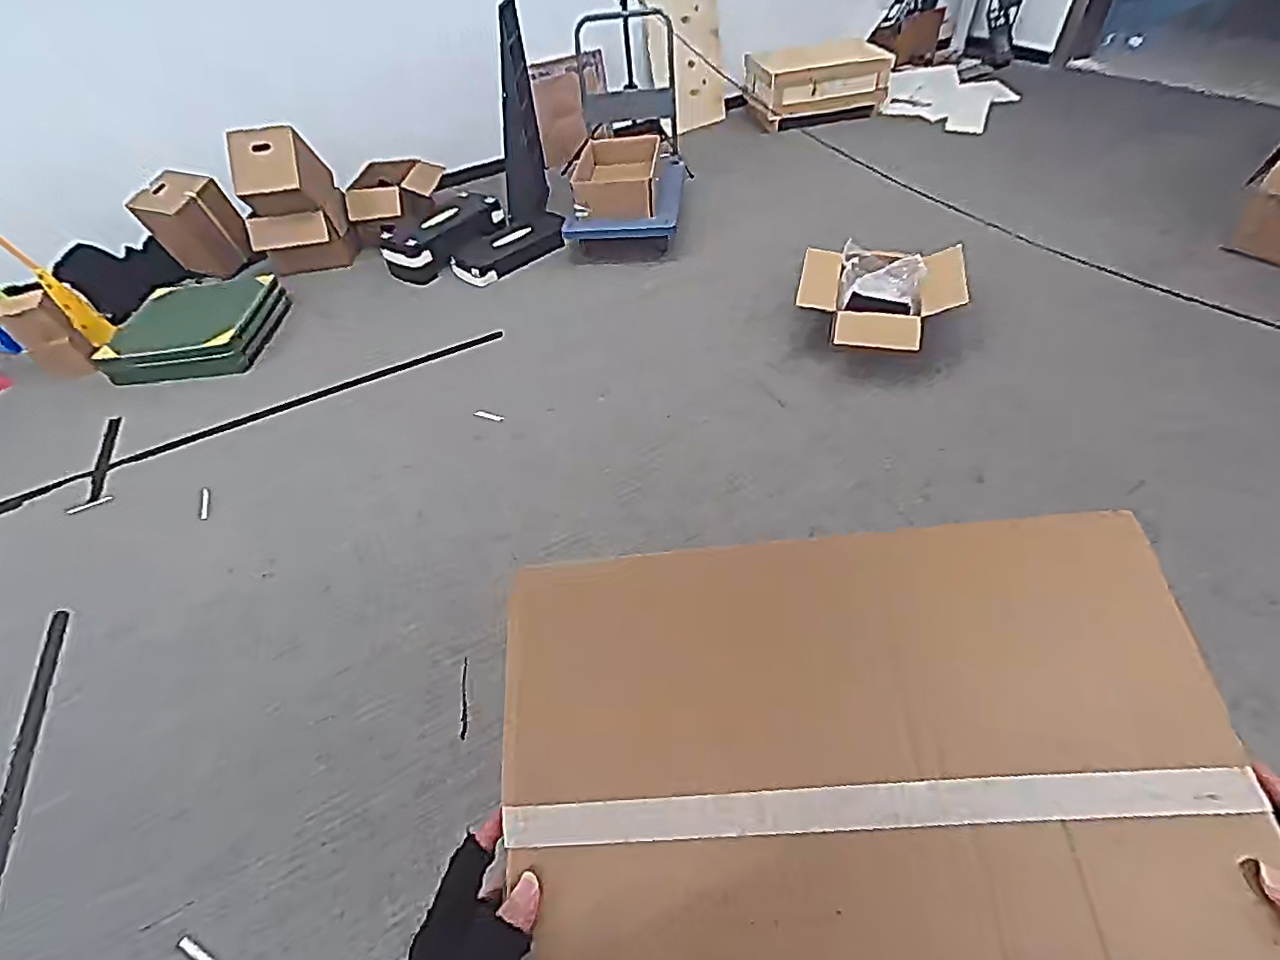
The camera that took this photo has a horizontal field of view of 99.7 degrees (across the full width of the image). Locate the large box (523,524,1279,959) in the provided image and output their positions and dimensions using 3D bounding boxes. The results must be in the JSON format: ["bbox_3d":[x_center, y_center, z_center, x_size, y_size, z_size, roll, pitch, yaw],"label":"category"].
[{"bbox_3d":[0.143,0.248,0.447,0.408,0.320,0.320,-6,68,6],"label":"large box"}]
